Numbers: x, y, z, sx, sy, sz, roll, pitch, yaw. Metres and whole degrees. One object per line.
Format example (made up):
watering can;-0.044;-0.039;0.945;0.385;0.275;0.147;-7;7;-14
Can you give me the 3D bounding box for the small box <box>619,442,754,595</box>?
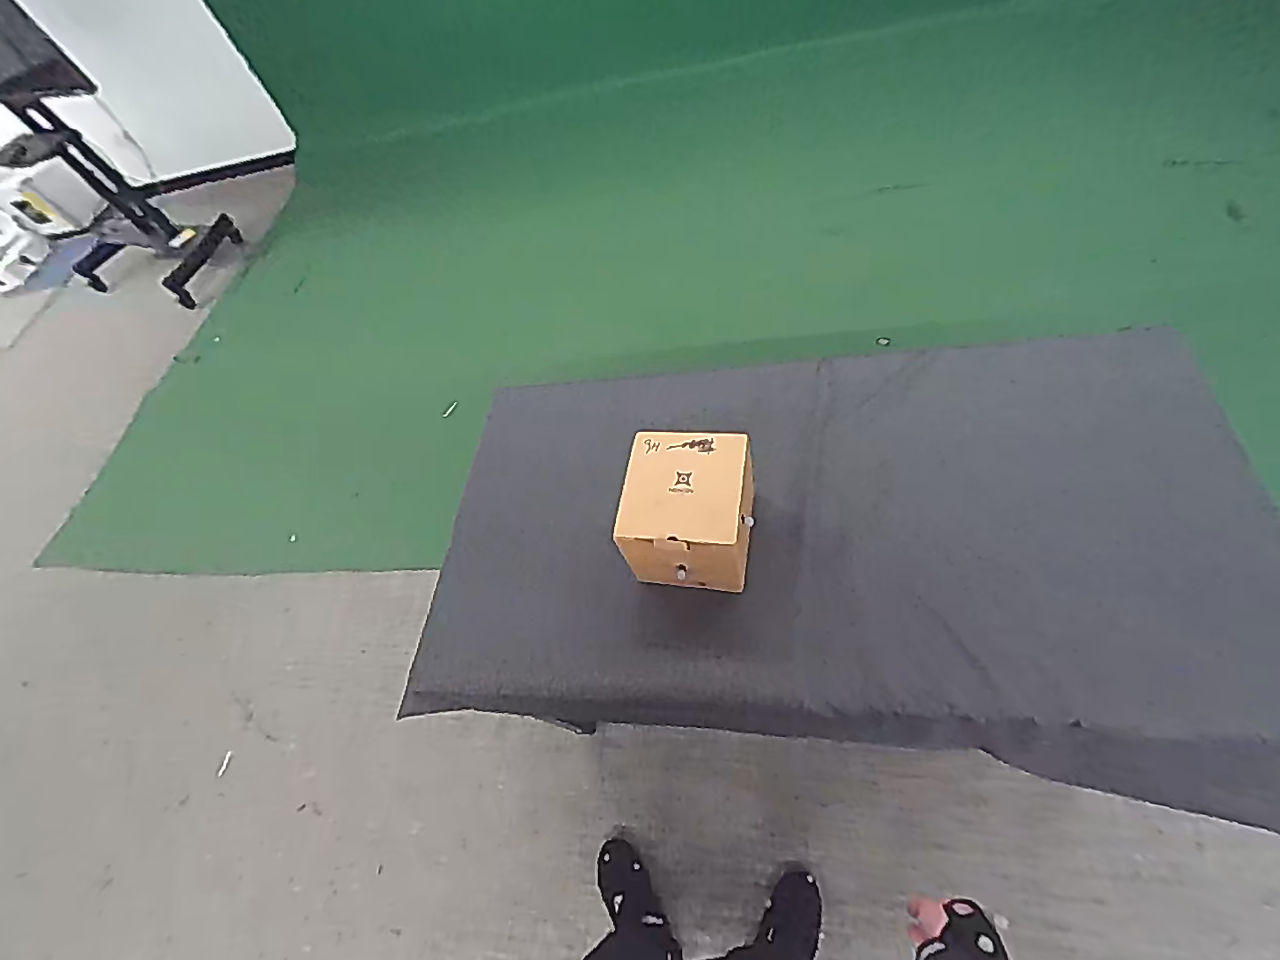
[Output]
small box;0.080;0.063;0.809;0.168;0.176;0.179;-1;58;16
